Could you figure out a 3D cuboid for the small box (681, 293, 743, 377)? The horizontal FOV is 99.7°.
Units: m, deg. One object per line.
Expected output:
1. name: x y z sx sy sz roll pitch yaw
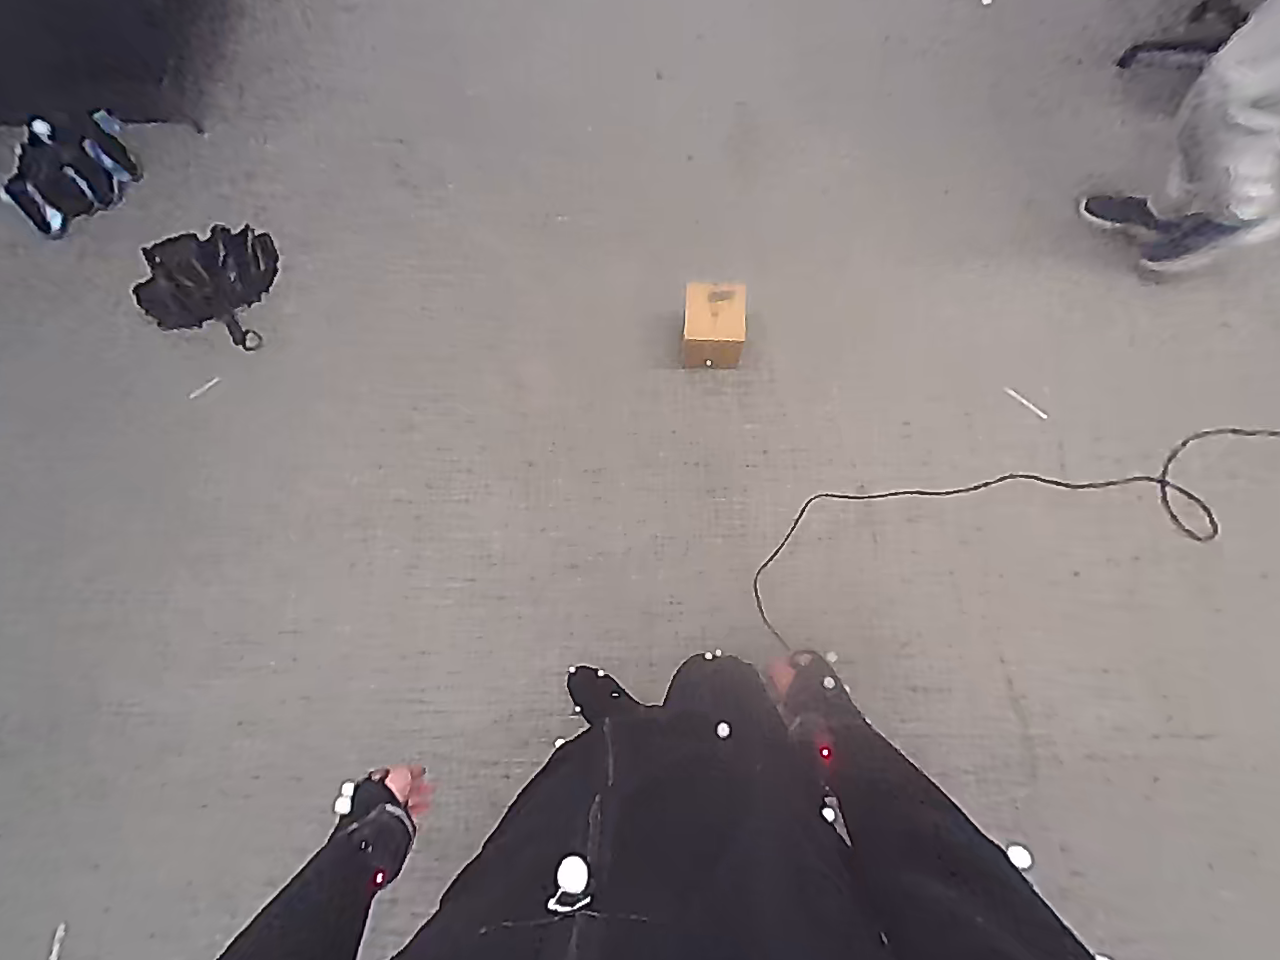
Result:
1. small box: 0.205 -0.416 1.560 0.168 0.176 0.179 1 76 4
